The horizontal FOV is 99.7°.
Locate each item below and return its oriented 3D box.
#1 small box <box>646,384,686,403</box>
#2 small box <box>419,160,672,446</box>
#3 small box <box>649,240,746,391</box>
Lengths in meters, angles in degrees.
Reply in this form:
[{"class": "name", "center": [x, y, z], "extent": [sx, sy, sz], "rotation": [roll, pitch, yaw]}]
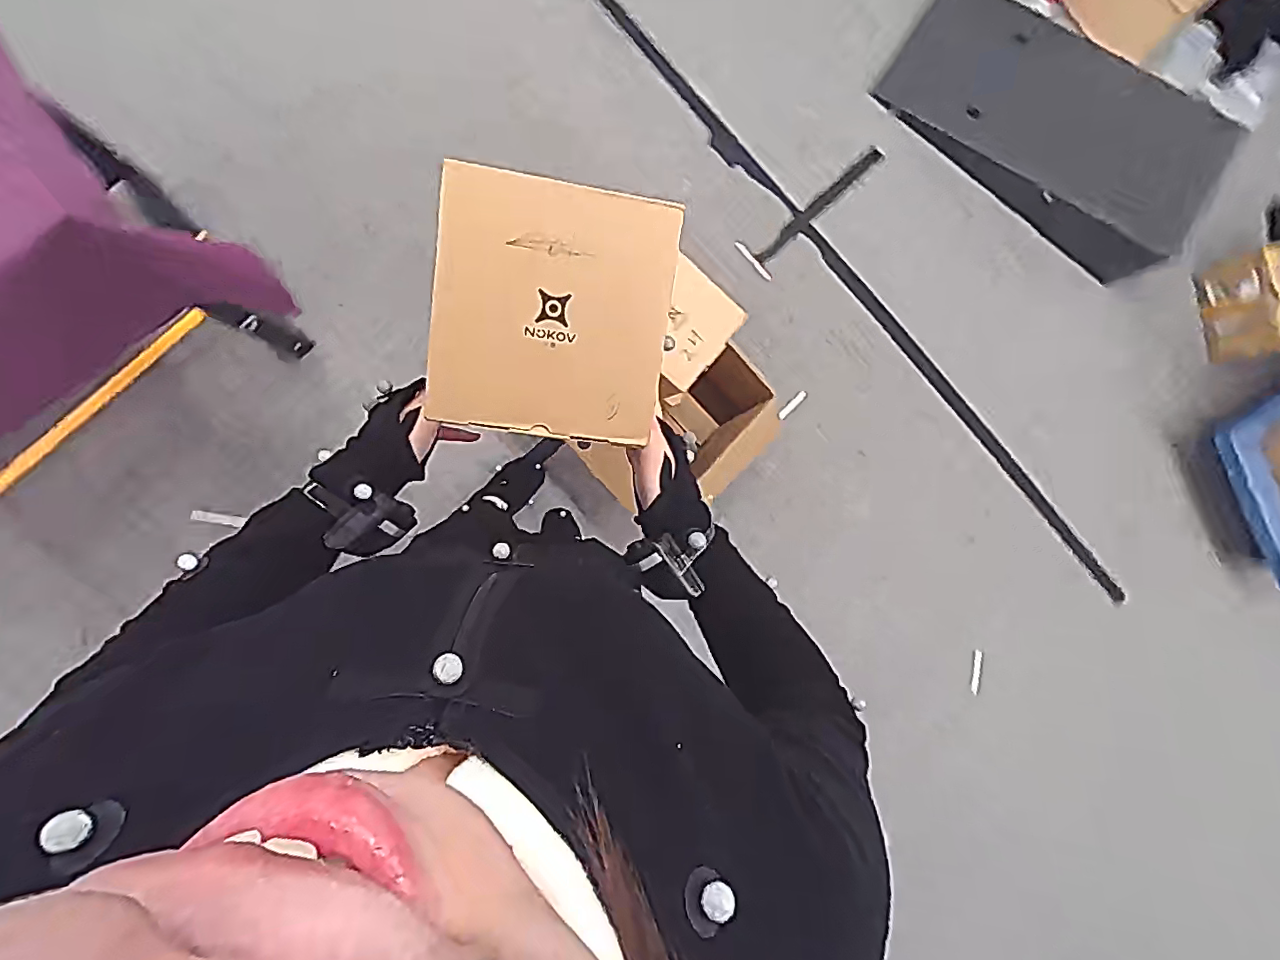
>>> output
[{"class": "small box", "center": [0.032, -0.288, 1.264], "extent": [0.179, 0.176, 0.168], "rotation": [26, 90, -10]}, {"class": "small box", "center": [-0.077, -0.134, 0.459], "extent": [0.168, 0.176, 0.179], "rotation": [6, 101, -9]}, {"class": "small box", "center": [0.045, -0.267, 0.934], "extent": [0.179, 0.176, 0.168], "rotation": [41, 89, -10]}]
